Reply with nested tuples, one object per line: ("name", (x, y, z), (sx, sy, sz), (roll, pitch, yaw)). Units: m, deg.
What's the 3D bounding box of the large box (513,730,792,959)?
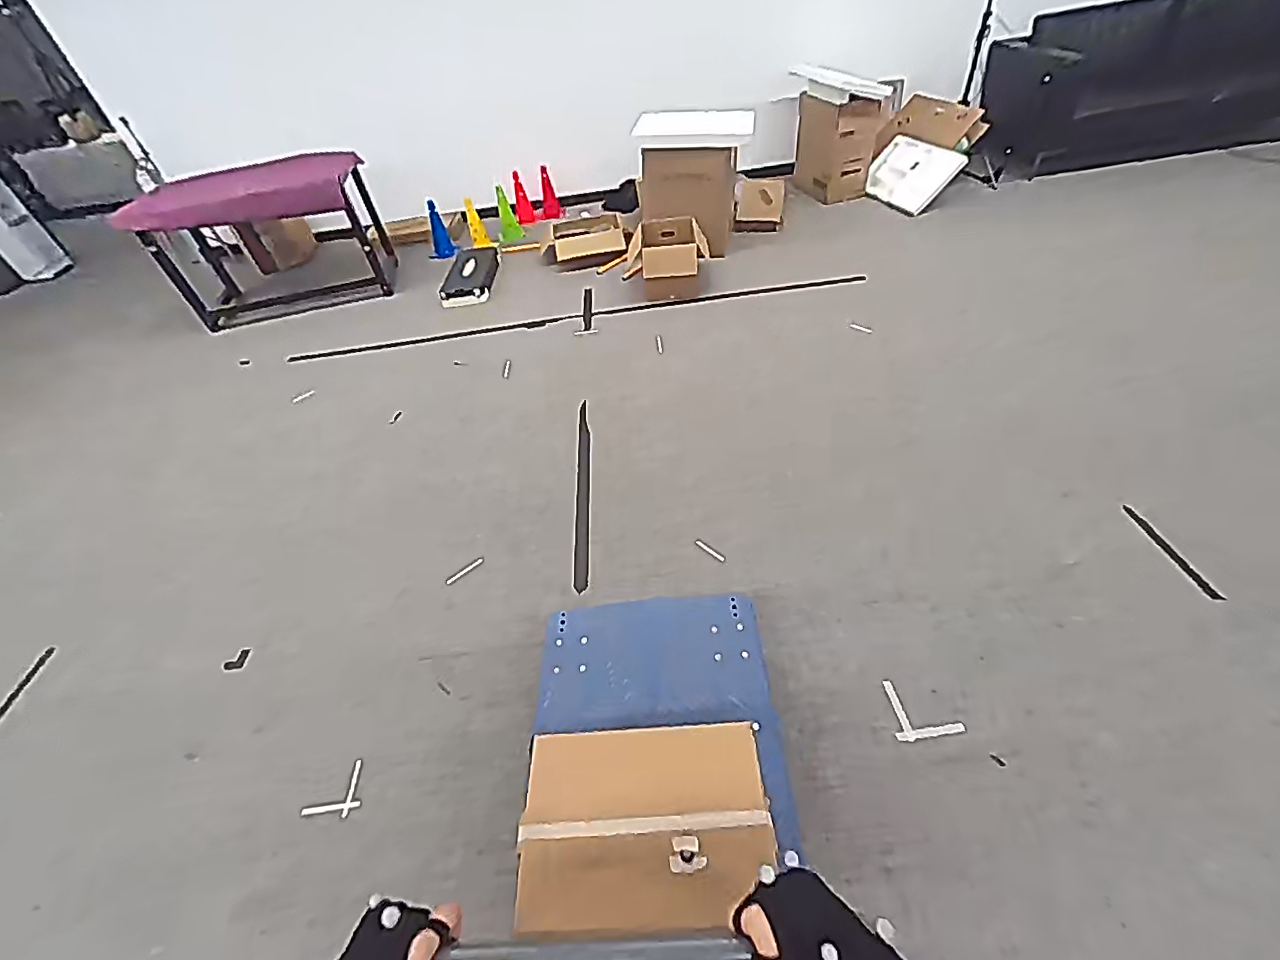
("large box", (0.022, 0.677, 0.961), (0.408, 0.320, 0.320), (-5, 43, 2))
